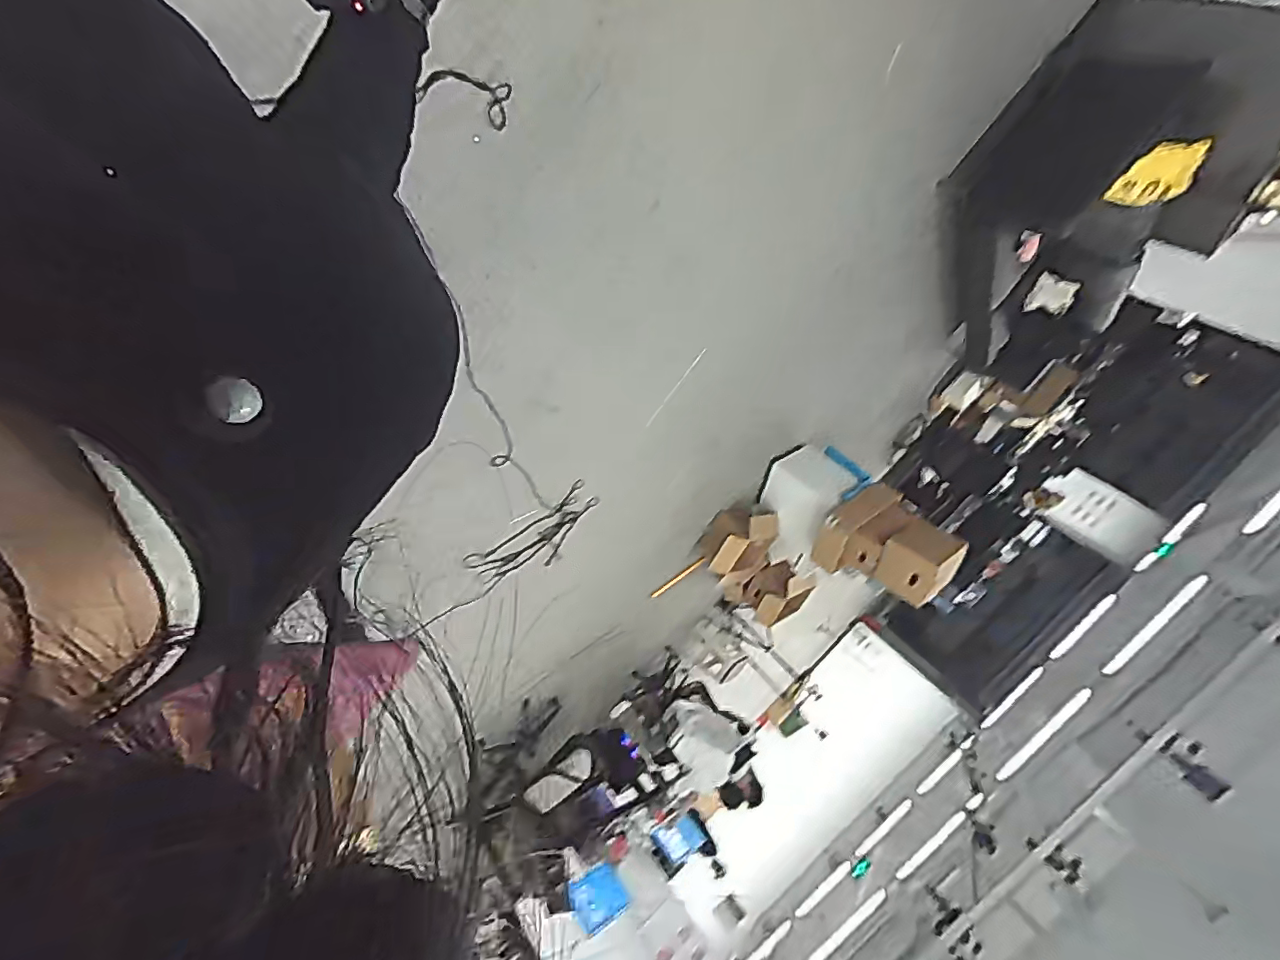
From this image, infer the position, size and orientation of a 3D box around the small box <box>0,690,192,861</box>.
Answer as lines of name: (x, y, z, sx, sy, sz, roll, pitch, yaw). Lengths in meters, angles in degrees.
small box: (-0.825, 0.444, 0.811, 0.179, 0.176, 0.168, -49, 150, 6)

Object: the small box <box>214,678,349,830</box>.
small box: (-0.697, 0.518, 1.050, 0.179, 0.176, 0.168, -8, 132, -46)

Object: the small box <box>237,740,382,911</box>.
small box: (-0.584, 0.605, 0.965, 0.179, 0.176, 0.168, -18, 139, -37)
